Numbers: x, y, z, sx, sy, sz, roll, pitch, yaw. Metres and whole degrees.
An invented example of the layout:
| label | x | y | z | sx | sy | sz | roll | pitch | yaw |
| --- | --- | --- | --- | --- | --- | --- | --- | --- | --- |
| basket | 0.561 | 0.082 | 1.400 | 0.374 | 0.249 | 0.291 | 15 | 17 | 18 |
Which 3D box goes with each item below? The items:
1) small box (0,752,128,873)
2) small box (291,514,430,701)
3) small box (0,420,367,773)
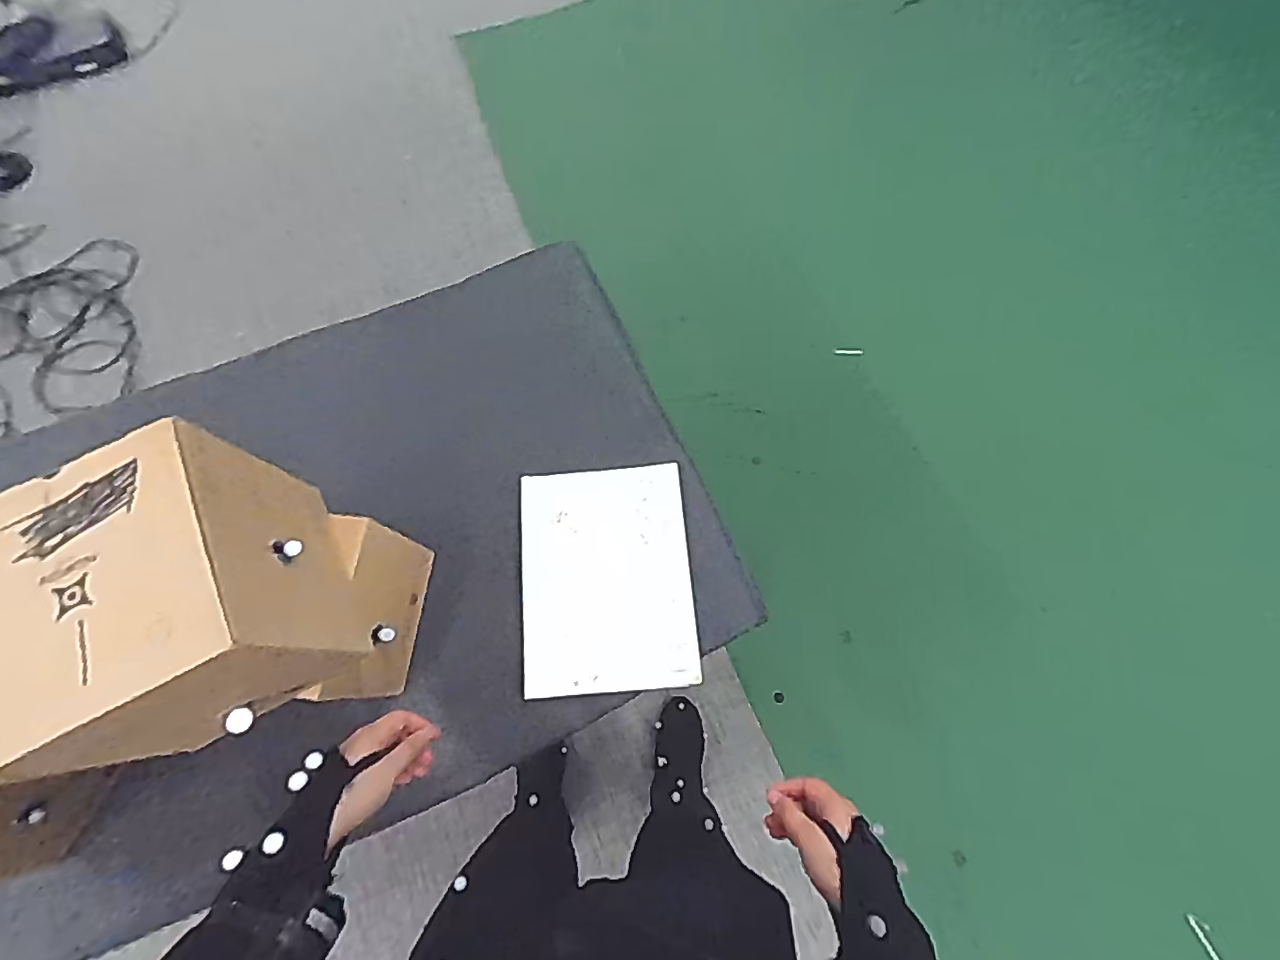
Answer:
| label | x | y | z | sx | sy | sz | roll | pitch | yaw |
| --- | --- | --- | --- | --- | --- | --- | --- | --- | --- |
| small box | -0.657 | 0.273 | 0.530 | 0.179 | 0.176 | 0.168 | 25 | 73 | 9 |
| small box | -0.348 | 0.129 | 0.569 | 0.179 | 0.176 | 0.168 | 5 | 72 | 4 |
| small box | -0.345 | 0.090 | 0.409 | 0.168 | 0.176 | 0.179 | -27 | 73 | -6 |
